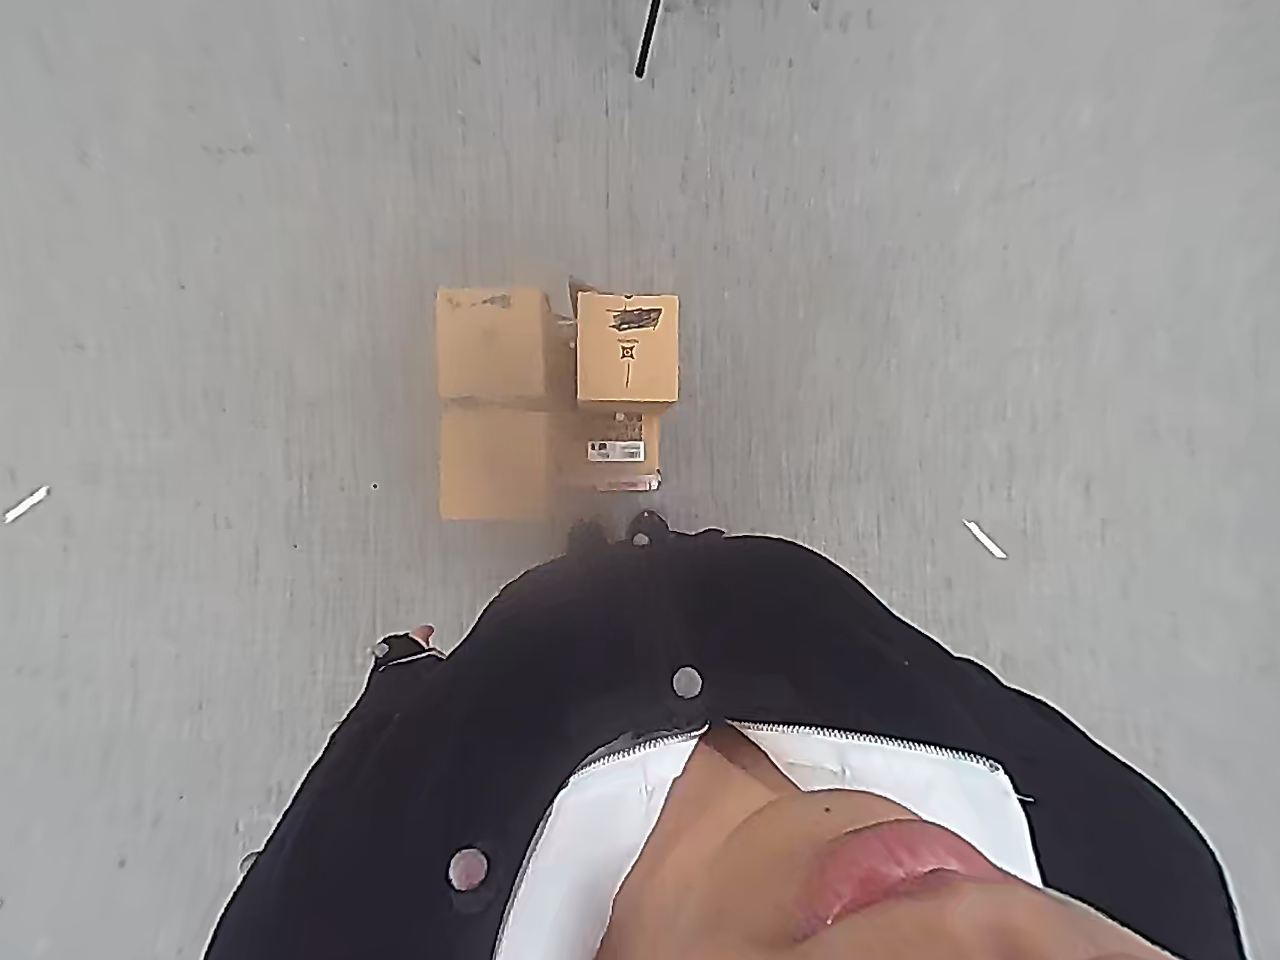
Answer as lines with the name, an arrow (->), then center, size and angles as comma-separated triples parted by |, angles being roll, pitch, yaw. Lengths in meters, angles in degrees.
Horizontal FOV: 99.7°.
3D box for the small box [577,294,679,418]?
small box -> -0.027, -0.209, 0.951 | 0.168, 0.176, 0.179 | 1, 90, -5
